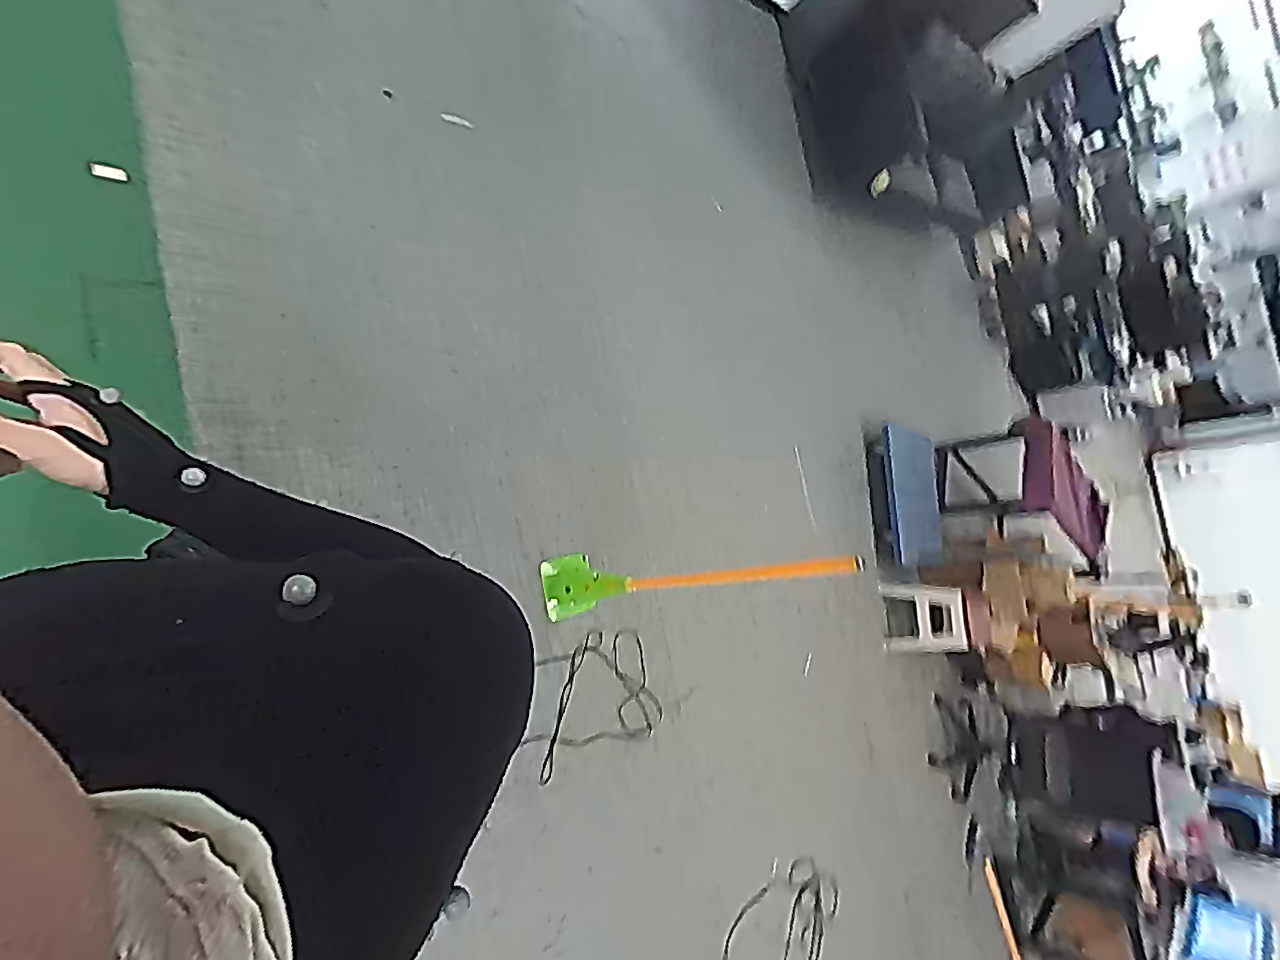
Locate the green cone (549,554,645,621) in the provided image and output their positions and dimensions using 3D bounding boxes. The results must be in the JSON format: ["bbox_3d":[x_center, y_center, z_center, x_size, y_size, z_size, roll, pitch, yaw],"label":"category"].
[{"bbox_3d":[-0.116,0.350,1.769,0.200,0.368,0.202,-10,88,-40],"label":"green cone"}]
